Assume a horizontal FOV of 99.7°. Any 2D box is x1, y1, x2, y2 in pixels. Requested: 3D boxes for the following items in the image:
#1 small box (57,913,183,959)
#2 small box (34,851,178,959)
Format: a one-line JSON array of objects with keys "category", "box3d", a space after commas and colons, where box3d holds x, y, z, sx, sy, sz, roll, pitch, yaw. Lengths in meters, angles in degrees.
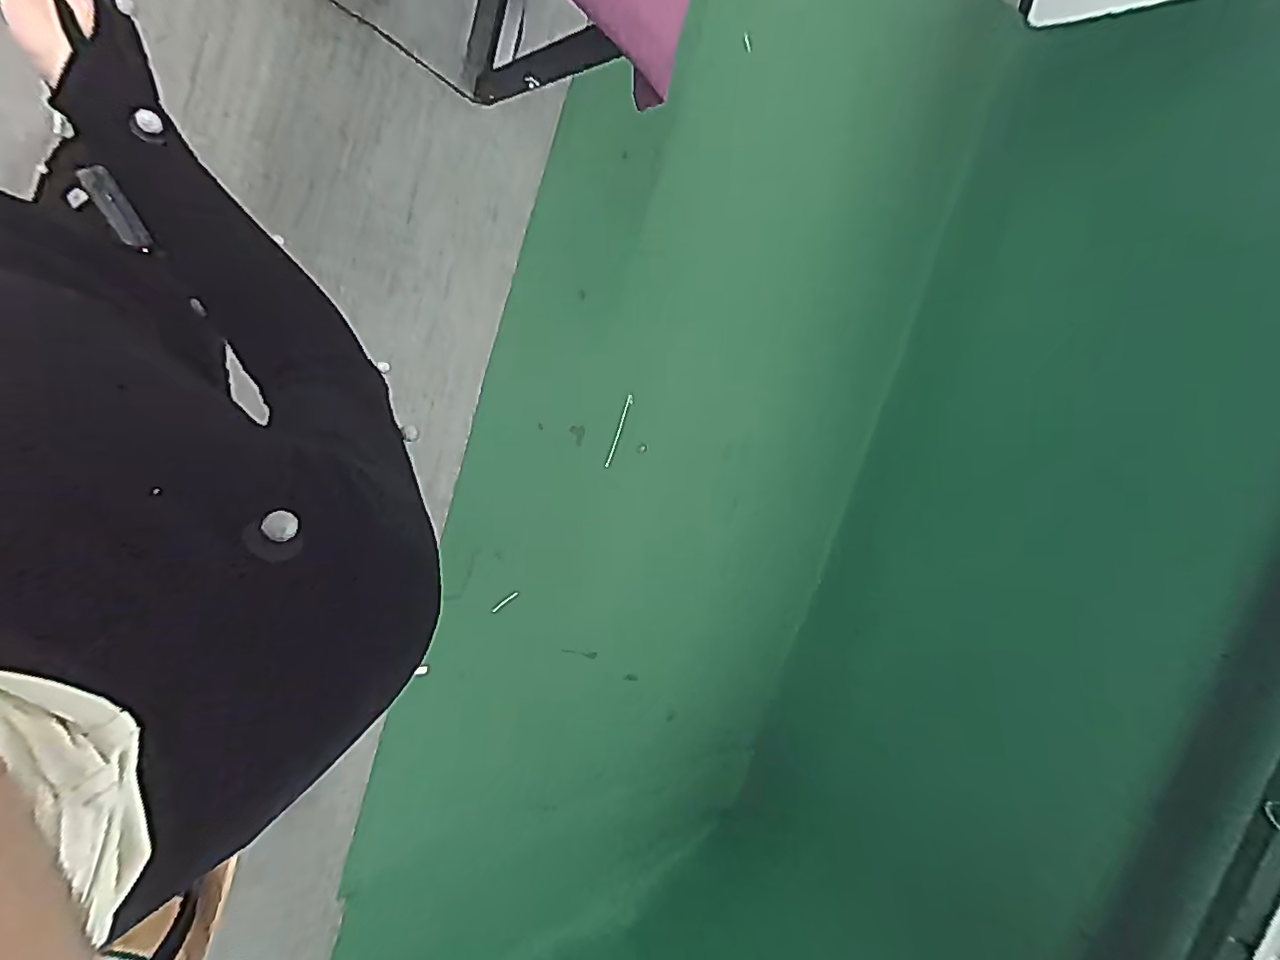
[{"category": "small box", "box3d": [-0.907, 0.905, 0.921, 0.179, 0.176, 0.168, 9, 100, -46]}, {"category": "small box", "box3d": [-1.018, 0.859, 1.032, 0.179, 0.176, 0.168, 12, 98, -46]}]
